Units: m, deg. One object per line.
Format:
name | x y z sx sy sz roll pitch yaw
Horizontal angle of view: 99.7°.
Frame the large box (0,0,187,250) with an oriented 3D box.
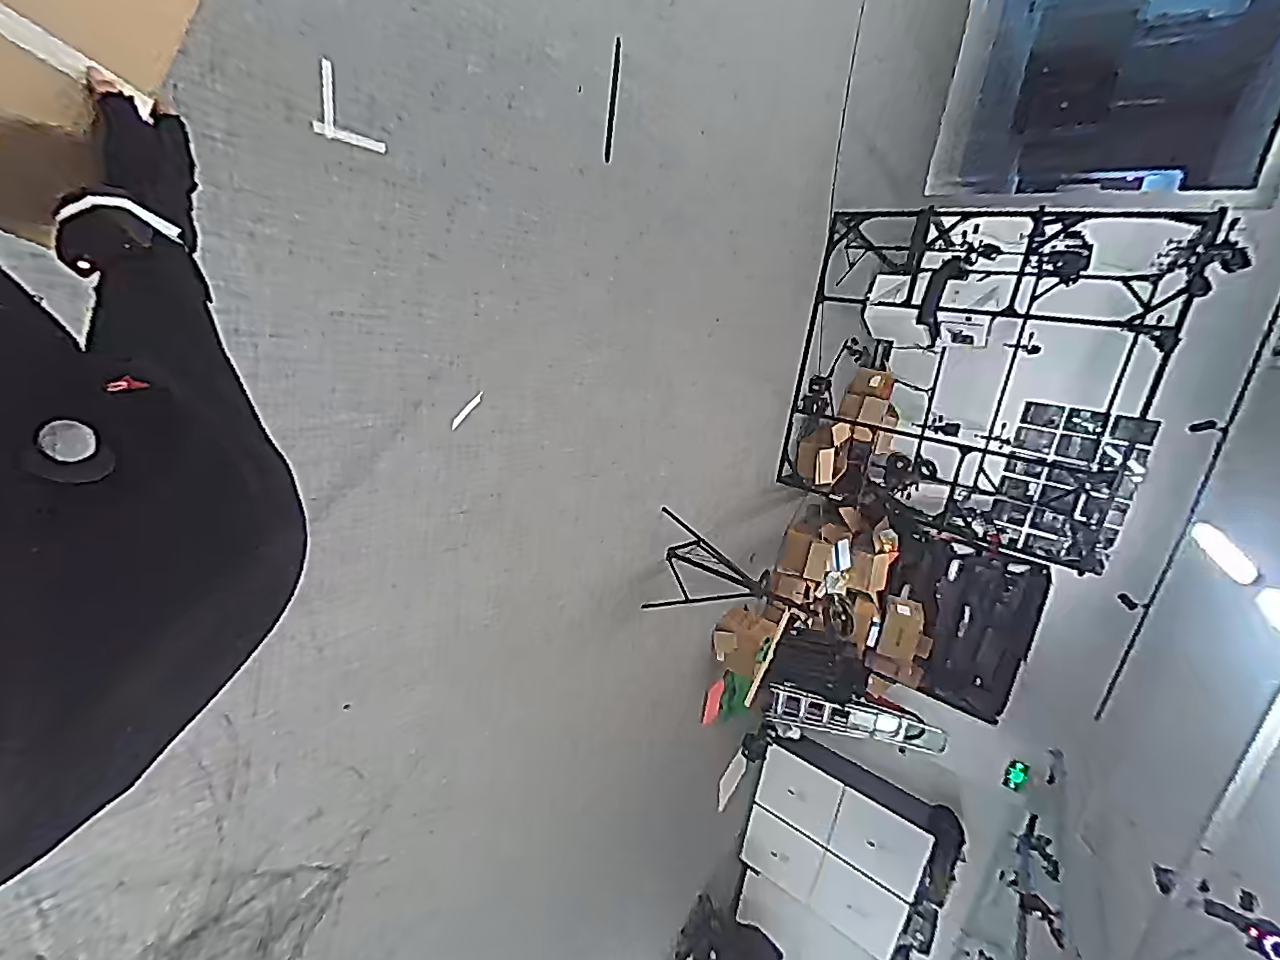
large box | -0.675 -0.446 0.402 0.320 0.320 0.408 -62 153 4
